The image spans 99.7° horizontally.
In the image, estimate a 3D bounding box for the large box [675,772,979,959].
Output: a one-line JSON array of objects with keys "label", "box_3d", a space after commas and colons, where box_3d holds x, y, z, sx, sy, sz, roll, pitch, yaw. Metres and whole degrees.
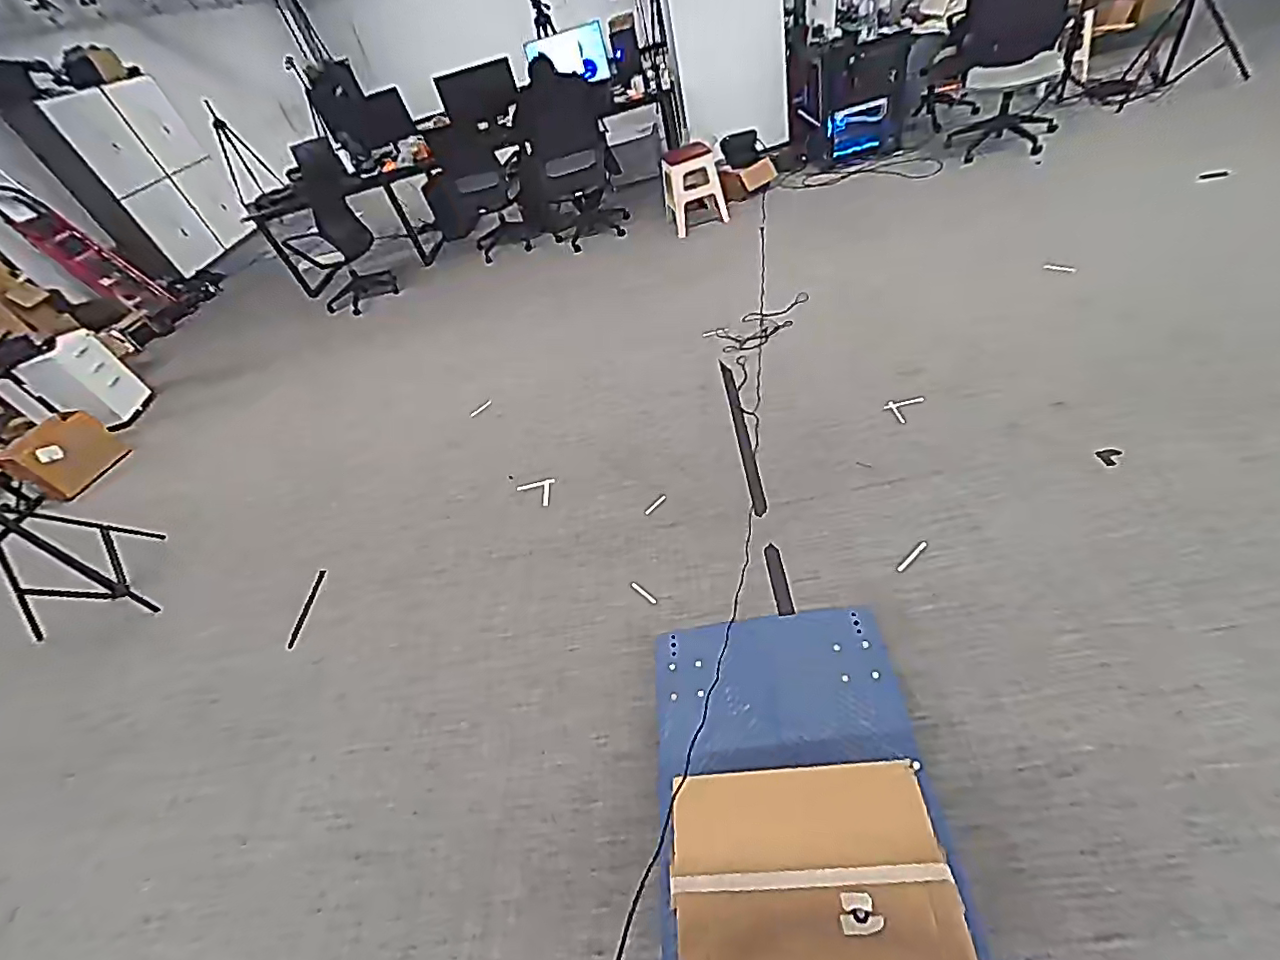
[{"label": "large box", "box_3d": [0.286, 0.717, 0.892, 0.408, 0.320, 0.320, -9, 43, 9]}]
